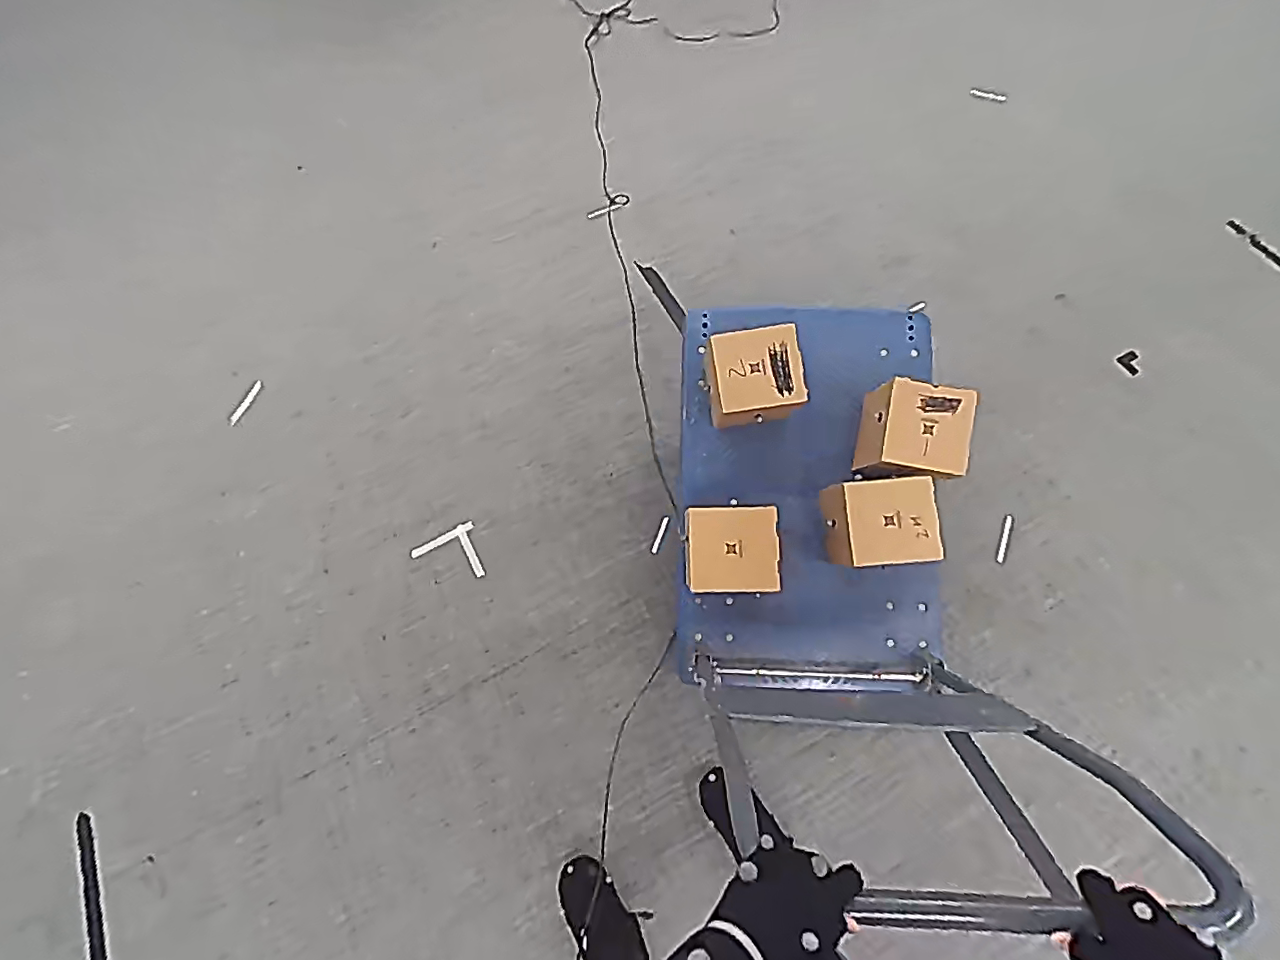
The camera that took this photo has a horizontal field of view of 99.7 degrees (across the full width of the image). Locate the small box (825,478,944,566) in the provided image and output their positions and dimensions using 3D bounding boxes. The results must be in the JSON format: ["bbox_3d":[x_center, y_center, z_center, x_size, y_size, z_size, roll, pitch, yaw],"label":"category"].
[{"bbox_3d":[0.494,0.090,1.122,0.179,0.176,0.168,-4,84,2],"label":"small box"}]

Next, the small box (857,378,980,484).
[{"bbox_3d":[0.576,-0.095,1.138,0.168,0.176,0.179,11,85,4],"label":"small box"}]

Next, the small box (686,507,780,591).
[{"bbox_3d":[0.186,0.143,1.131,0.179,0.176,0.168,-1,84,1],"label":"small box"}]
